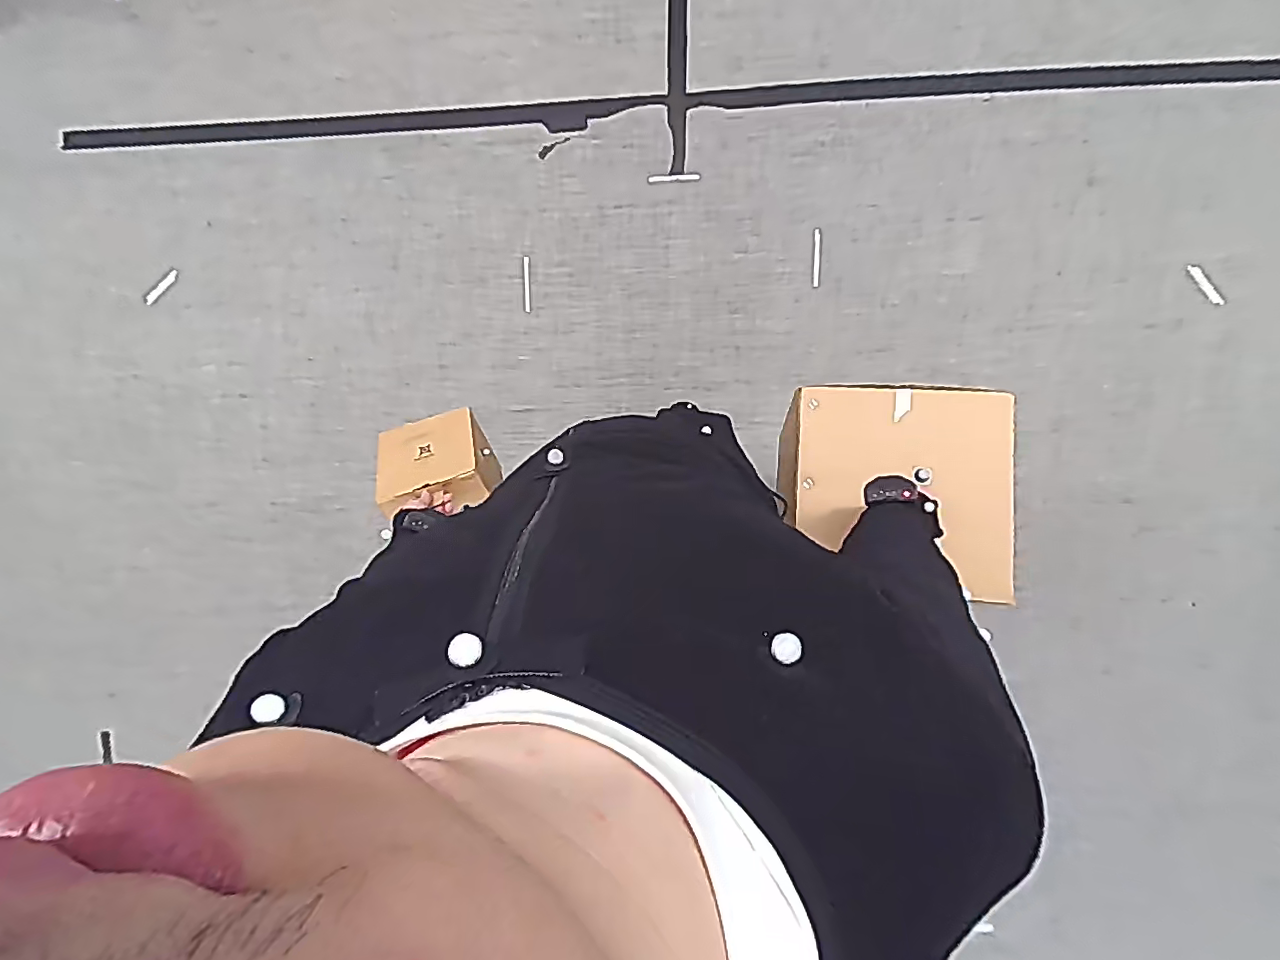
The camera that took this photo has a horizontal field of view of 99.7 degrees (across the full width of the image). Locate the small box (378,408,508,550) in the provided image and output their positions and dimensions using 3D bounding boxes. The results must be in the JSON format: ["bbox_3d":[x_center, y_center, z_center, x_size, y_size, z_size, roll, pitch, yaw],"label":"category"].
[{"bbox_3d":[-0.348,0.005,0.976,0.168,0.179,0.176,-18,137,-5],"label":"small box"}]
